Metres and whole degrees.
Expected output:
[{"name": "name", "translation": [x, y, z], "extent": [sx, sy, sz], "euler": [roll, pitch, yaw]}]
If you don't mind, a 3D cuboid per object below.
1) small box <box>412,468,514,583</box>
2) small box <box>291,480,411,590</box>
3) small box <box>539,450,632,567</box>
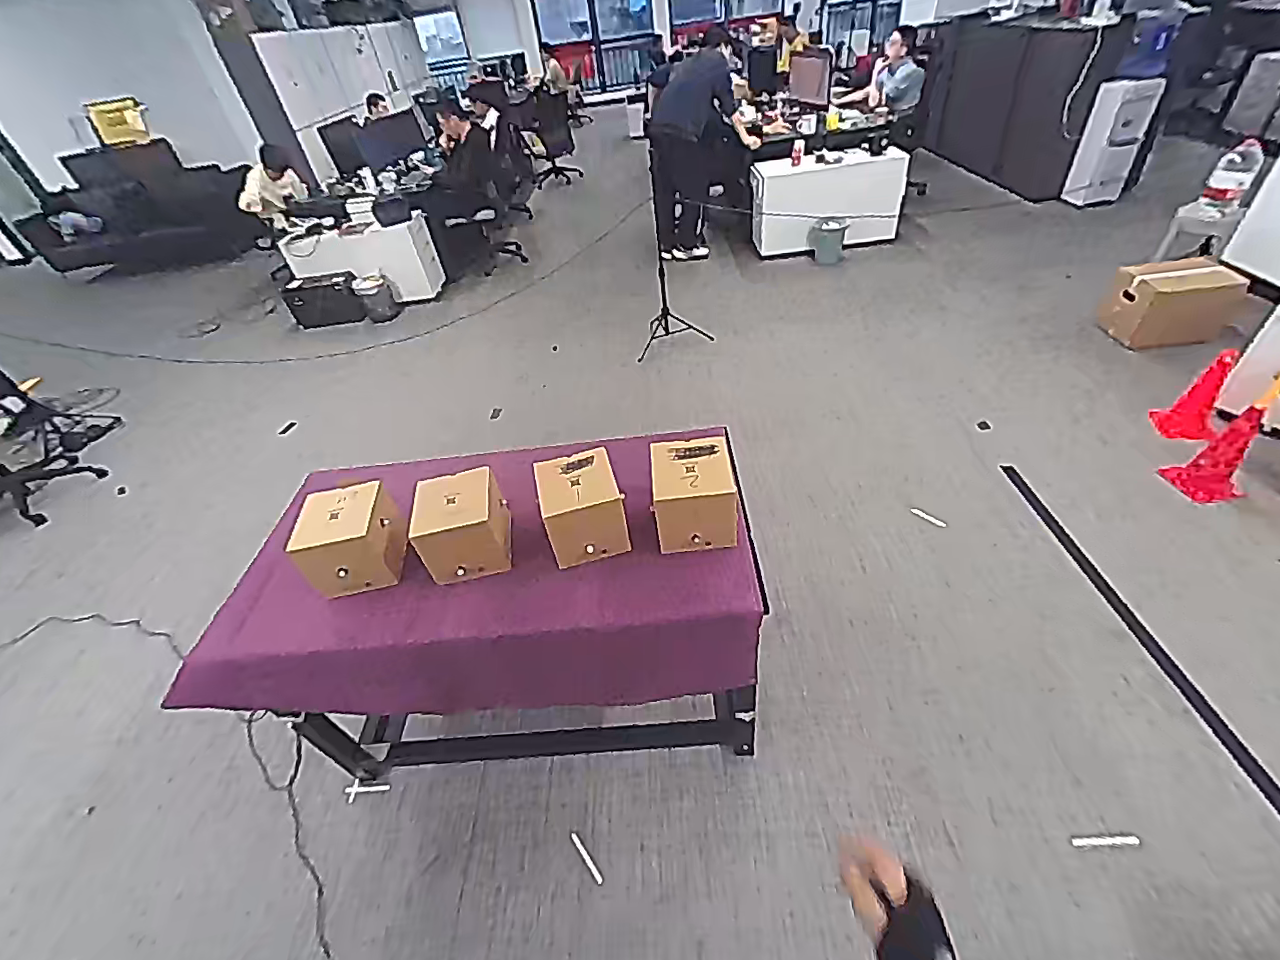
[{"name": "small box", "translation": [-0.384, 0.101, 1.207], "extent": [0.168, 0.176, 0.179], "euler": [-12, 41, -3]}, {"name": "small box", "translation": [-0.636, 0.131, 1.217], "extent": [0.168, 0.176, 0.179], "euler": [-11, 41, -3]}, {"name": "small box", "translation": [-0.120, 0.062, 1.202], "extent": [0.168, 0.176, 0.179], "euler": [-14, 42, -5]}]
